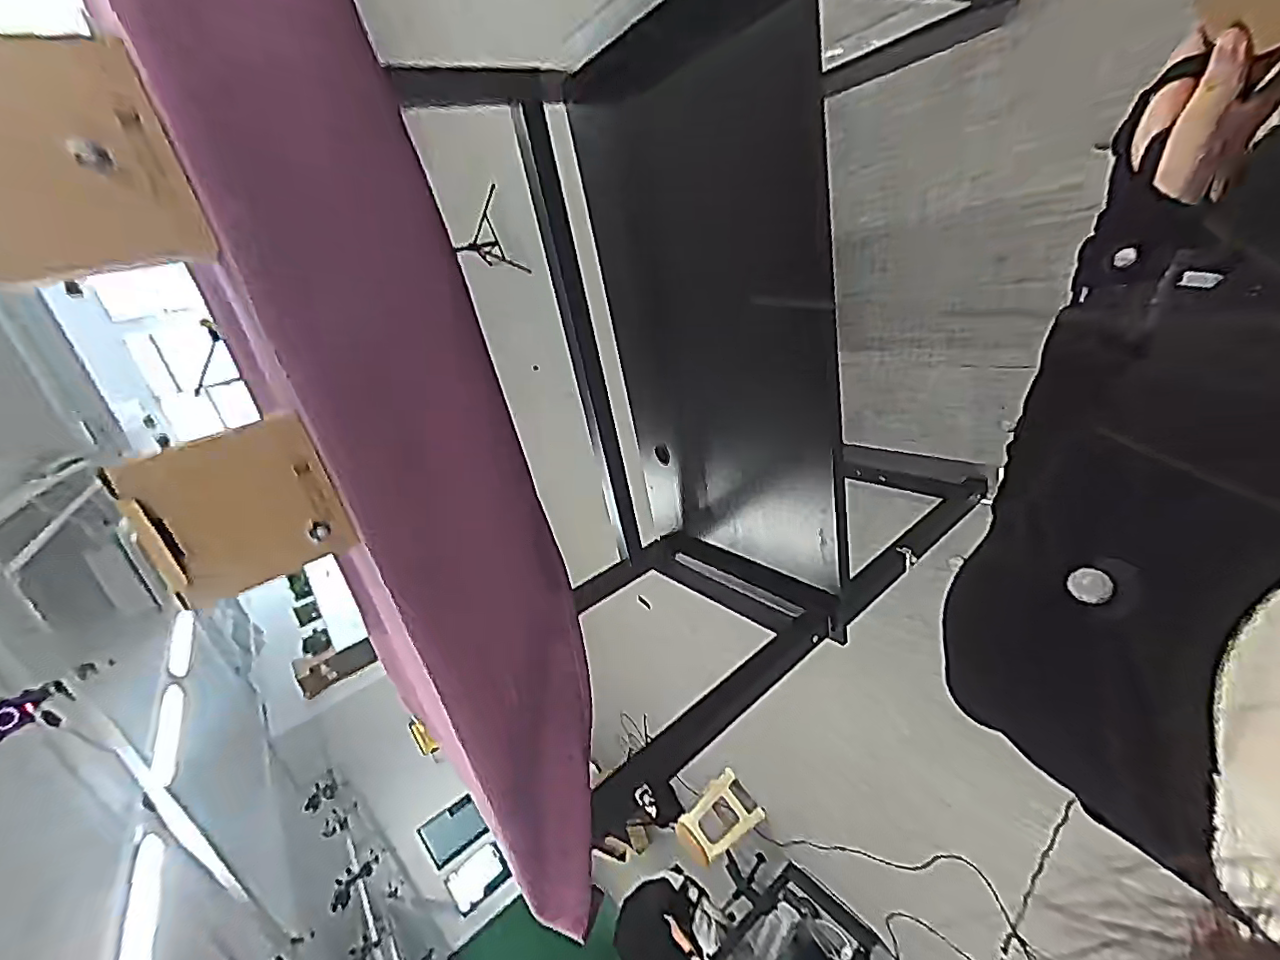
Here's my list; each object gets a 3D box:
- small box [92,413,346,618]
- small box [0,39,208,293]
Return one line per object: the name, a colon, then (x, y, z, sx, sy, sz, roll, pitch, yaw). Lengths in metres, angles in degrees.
small box: (-0.466, 0.026, 0.629, 0.179, 0.176, 0.168, 12, 123, 54)
small box: (-0.524, -0.269, 0.487, 0.179, 0.176, 0.168, 23, 132, 48)
